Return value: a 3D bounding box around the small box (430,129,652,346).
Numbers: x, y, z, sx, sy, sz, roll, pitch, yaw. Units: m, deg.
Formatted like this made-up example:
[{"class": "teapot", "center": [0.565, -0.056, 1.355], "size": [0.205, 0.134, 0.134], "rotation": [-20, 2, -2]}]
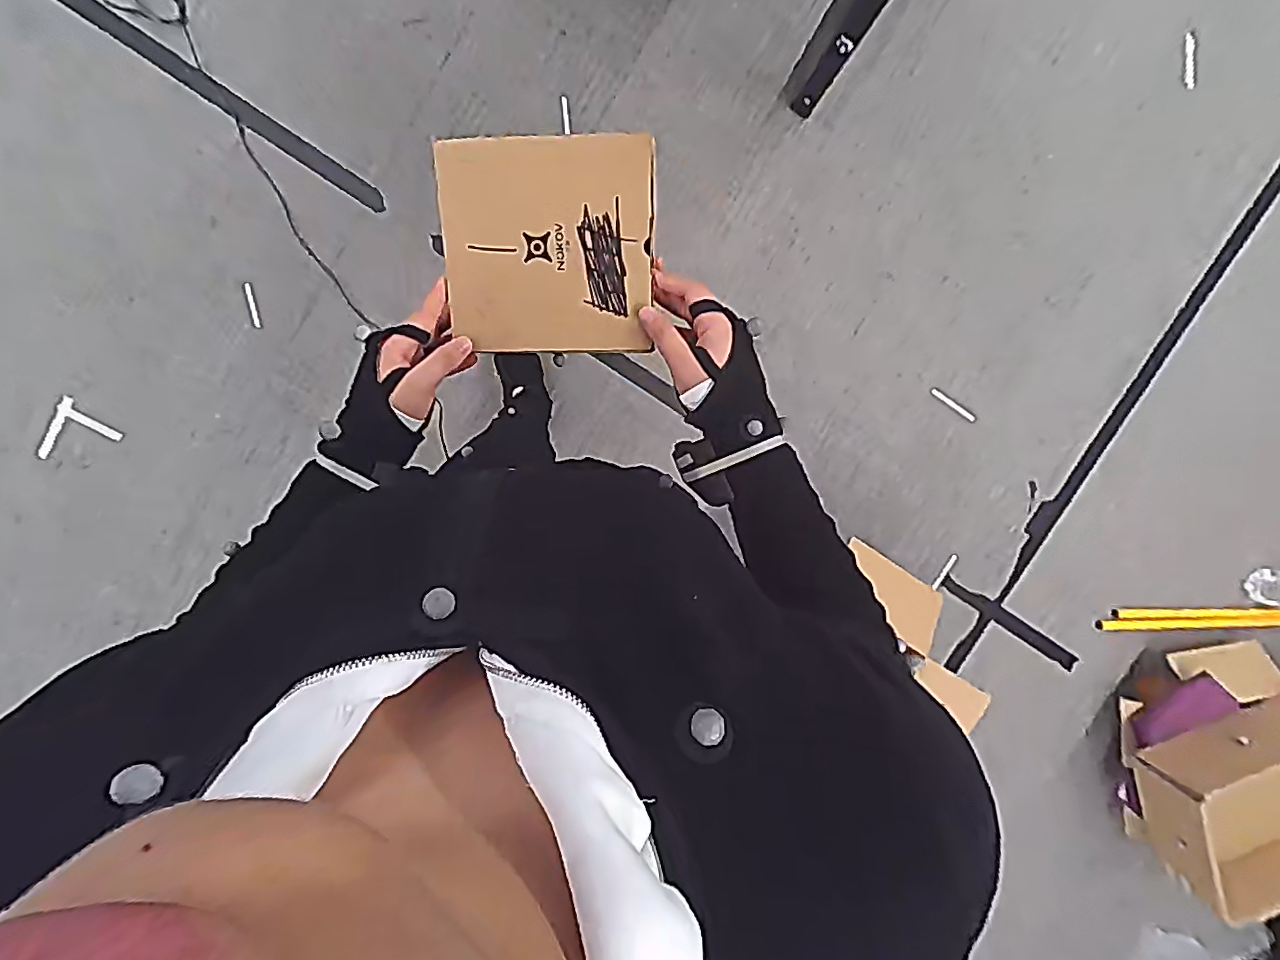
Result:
[{"class": "small box", "center": [-0.077, -0.217, 0.521], "size": [0.179, 0.176, 0.168], "rotation": [0, 105, 3]}]
